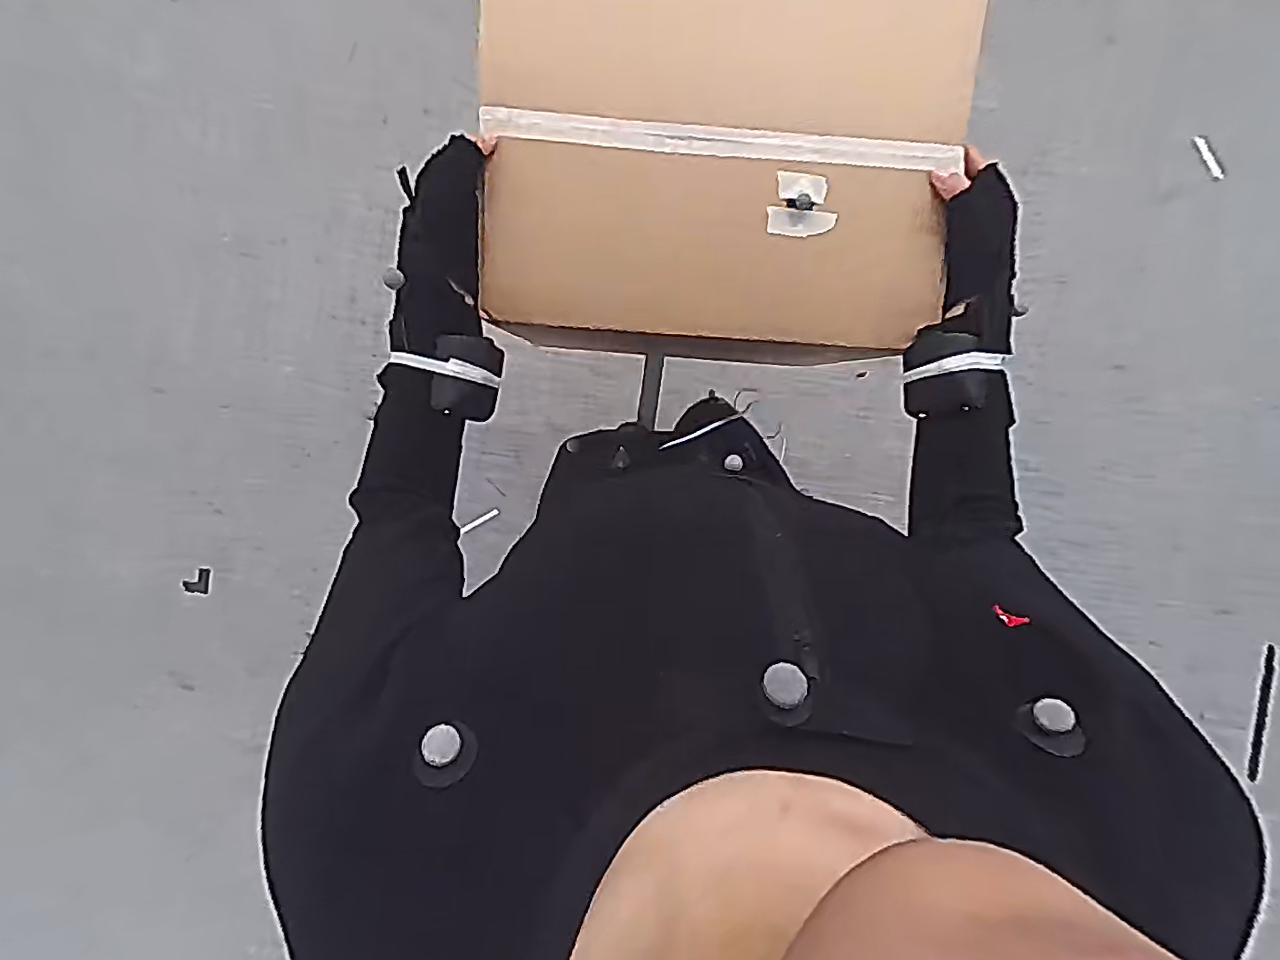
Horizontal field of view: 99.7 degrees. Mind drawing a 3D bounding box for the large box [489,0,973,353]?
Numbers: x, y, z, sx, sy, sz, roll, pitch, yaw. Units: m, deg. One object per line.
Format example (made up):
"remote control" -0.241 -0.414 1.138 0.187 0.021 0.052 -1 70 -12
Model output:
"large box" 0.064 -0.319 0.606 0.408 0.320 0.320 4 101 -4
